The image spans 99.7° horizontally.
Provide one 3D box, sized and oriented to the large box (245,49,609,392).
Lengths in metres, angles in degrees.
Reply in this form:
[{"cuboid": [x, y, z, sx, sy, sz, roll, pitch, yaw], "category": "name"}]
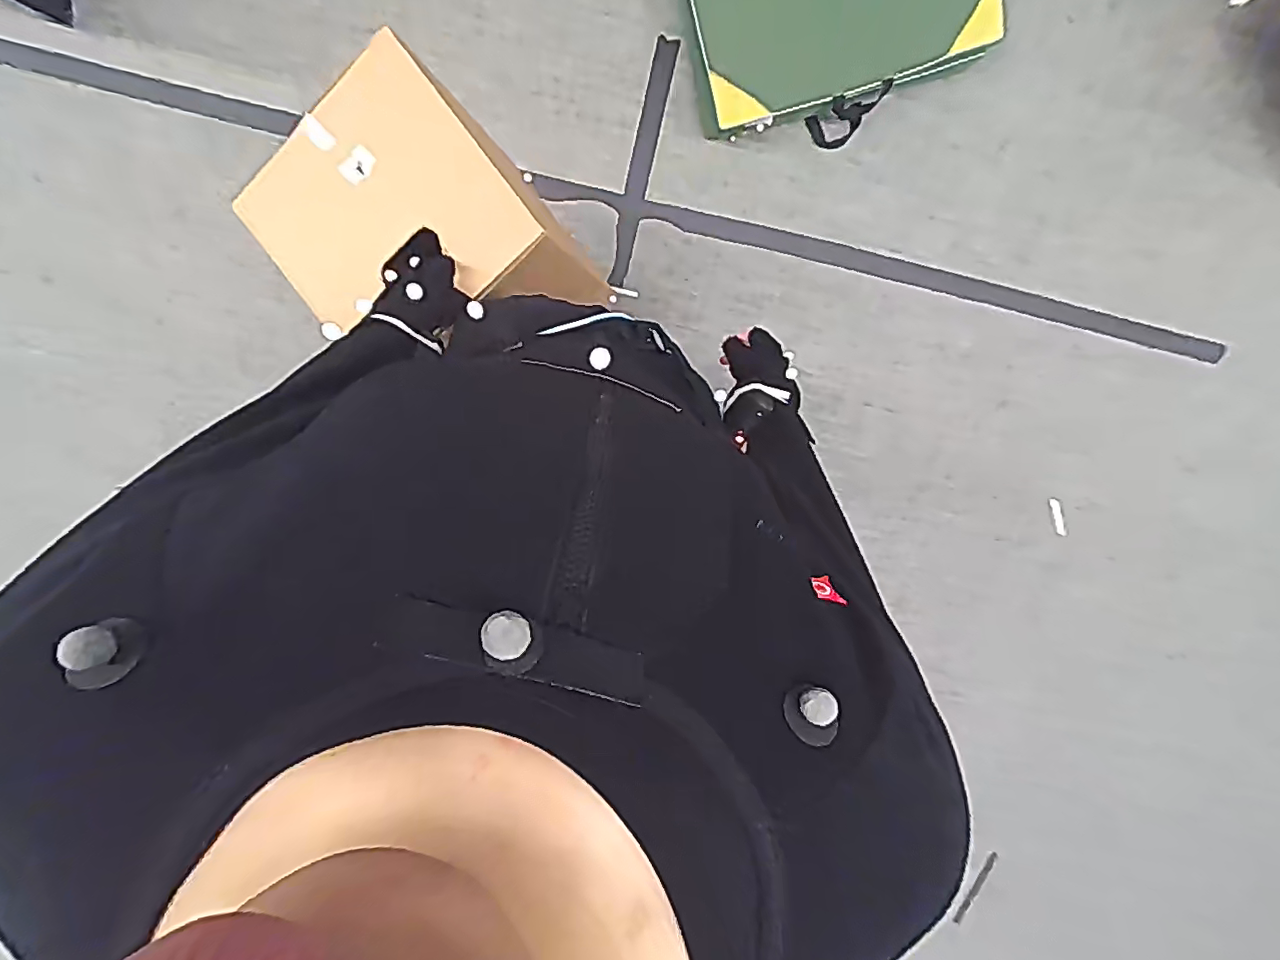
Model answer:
[{"cuboid": [-0.302, -0.363, 0.887, 0.320, 0.408, 0.320, -37, 92, 14], "category": "large box"}]
